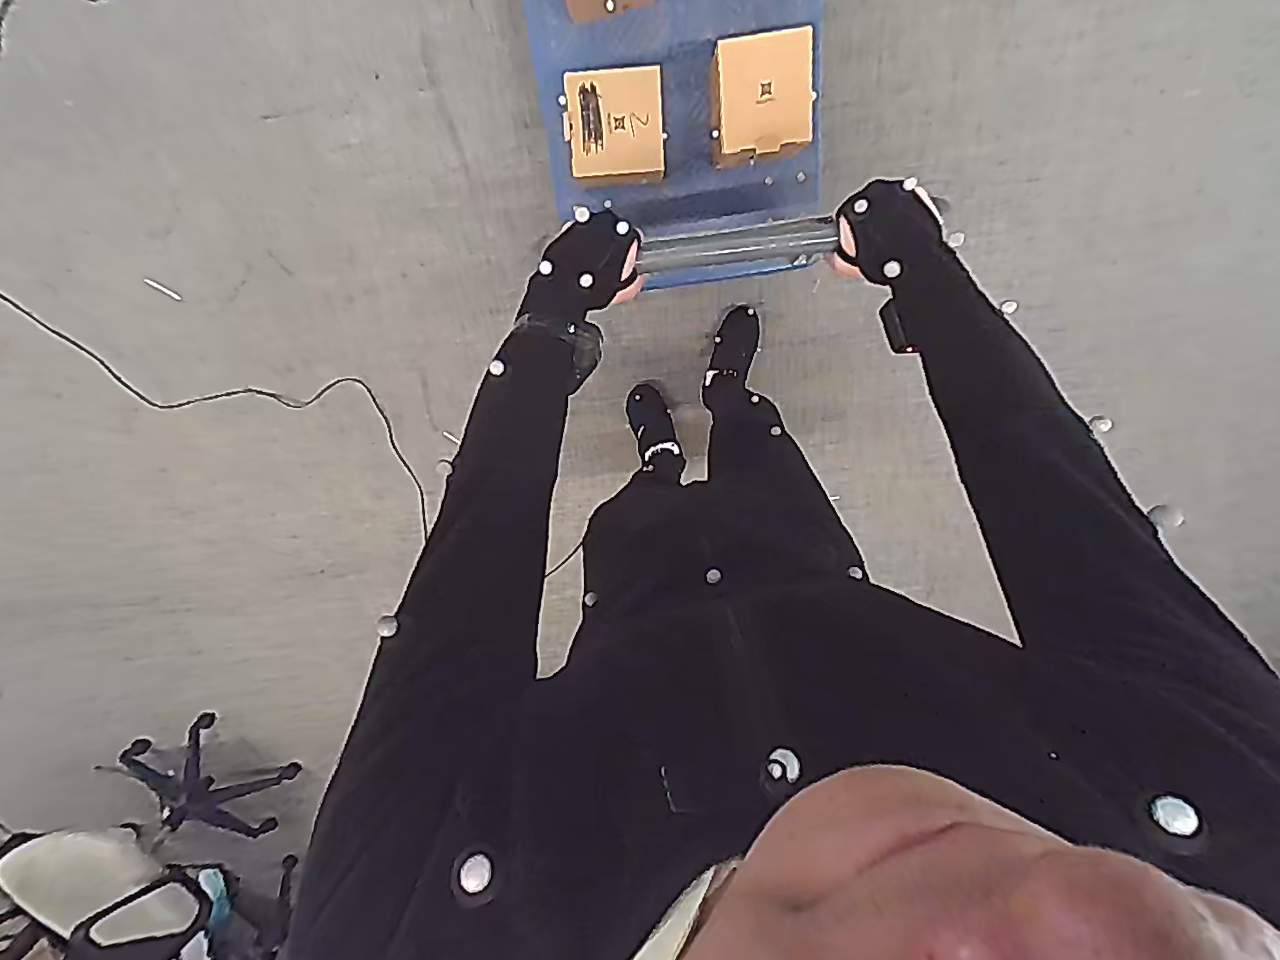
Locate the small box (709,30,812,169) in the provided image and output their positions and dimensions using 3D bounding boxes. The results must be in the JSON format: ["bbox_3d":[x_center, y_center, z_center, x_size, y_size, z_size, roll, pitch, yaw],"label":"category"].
[{"bbox_3d":[0.227,-0.723,1.047,0.168,0.176,0.179,-6,113,3],"label":"small box"}]

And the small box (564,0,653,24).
[{"bbox_3d":[-0.070,-0.952,0.957,0.168,0.176,0.179,-11,111,5],"label":"small box"}]
